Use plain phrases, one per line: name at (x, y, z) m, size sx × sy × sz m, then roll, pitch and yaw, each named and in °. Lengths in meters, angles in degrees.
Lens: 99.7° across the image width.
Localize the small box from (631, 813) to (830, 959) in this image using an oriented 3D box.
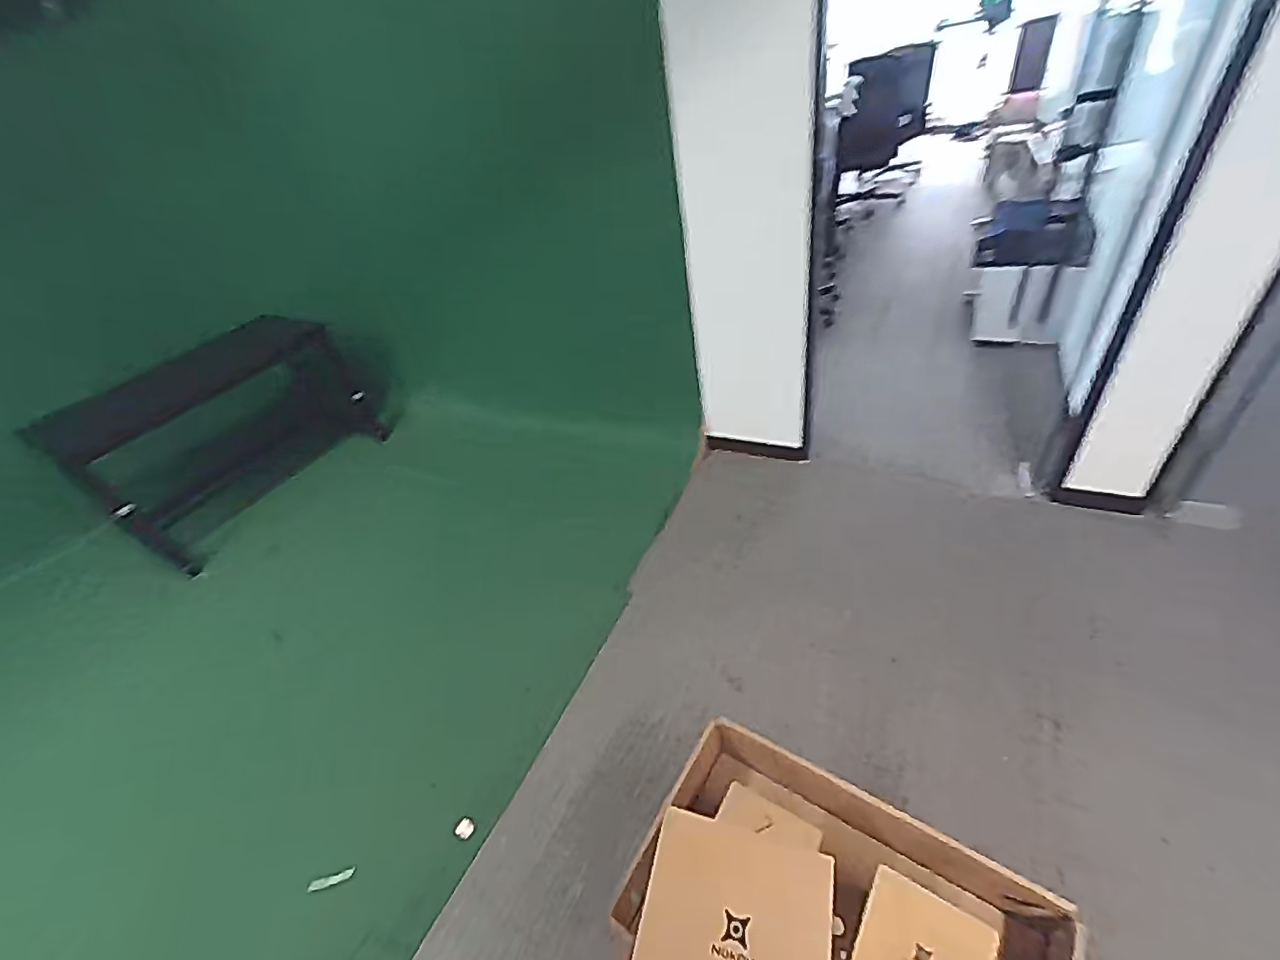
small box at (0.079, 0.467, 0.530) m, size 0.168 × 0.176 × 0.179 m, roll 11°, pitch 47°, yaw 12°

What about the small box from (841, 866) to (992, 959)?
small box at (0.406, 0.745, 0.823) m, size 0.168 × 0.176 × 0.179 m, roll 18°, pitch 50°, yaw 30°
